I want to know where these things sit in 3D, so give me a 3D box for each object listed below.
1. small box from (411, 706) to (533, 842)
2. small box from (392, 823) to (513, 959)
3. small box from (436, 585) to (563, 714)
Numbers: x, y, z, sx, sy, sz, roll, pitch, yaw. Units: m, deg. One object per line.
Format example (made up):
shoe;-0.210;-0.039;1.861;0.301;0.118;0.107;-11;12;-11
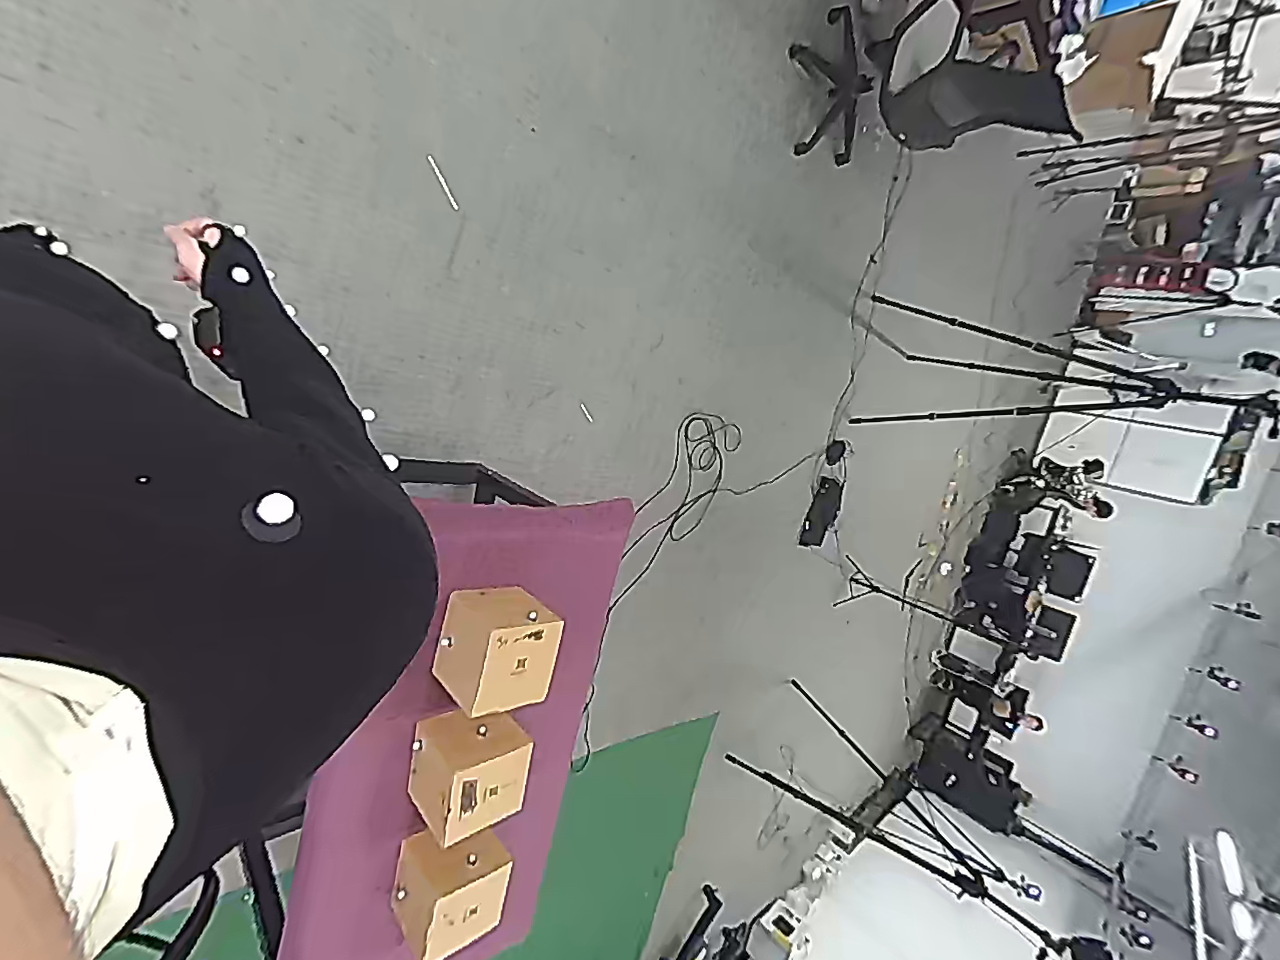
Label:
small box;-0.350;0.583;1.115;0.179;0.176;0.168;0;106;-47
small box;-0.406;0.860;1.170;0.179;0.176;0.168;5;102;-46
small box;-0.285;0.326;1.076;0.168;0.176;0.179;7;101;-47
